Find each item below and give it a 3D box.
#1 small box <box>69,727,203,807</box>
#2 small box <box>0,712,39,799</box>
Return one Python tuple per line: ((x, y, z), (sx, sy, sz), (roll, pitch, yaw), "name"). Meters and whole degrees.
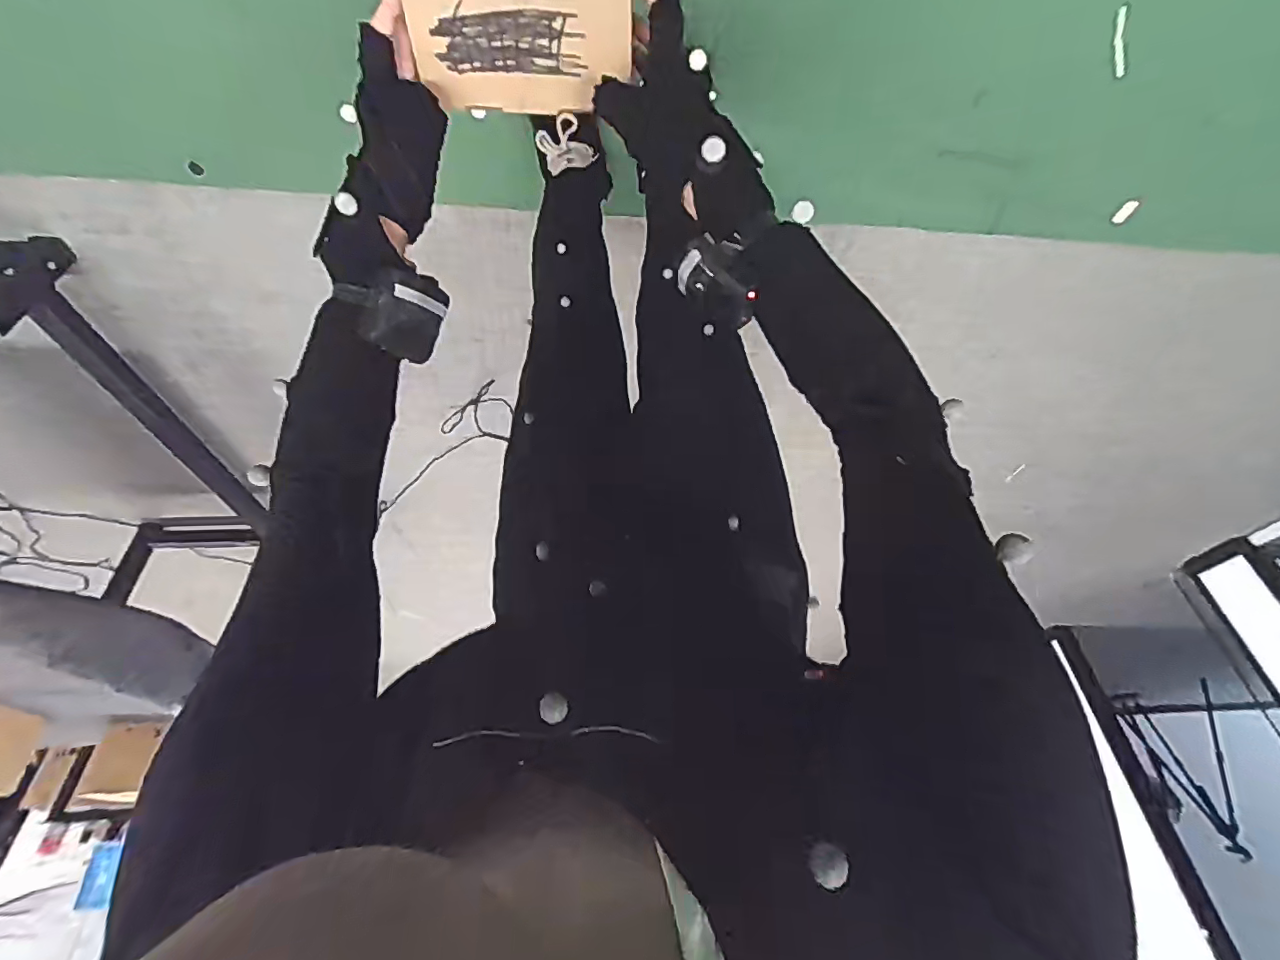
((-1.326, 0.760, 1.438), (0.168, 0.176, 0.179), (0, 145, -5), "small box")
((-1.541, 0.617, 1.209), (0.168, 0.176, 0.179), (0, 145, -7), "small box")
